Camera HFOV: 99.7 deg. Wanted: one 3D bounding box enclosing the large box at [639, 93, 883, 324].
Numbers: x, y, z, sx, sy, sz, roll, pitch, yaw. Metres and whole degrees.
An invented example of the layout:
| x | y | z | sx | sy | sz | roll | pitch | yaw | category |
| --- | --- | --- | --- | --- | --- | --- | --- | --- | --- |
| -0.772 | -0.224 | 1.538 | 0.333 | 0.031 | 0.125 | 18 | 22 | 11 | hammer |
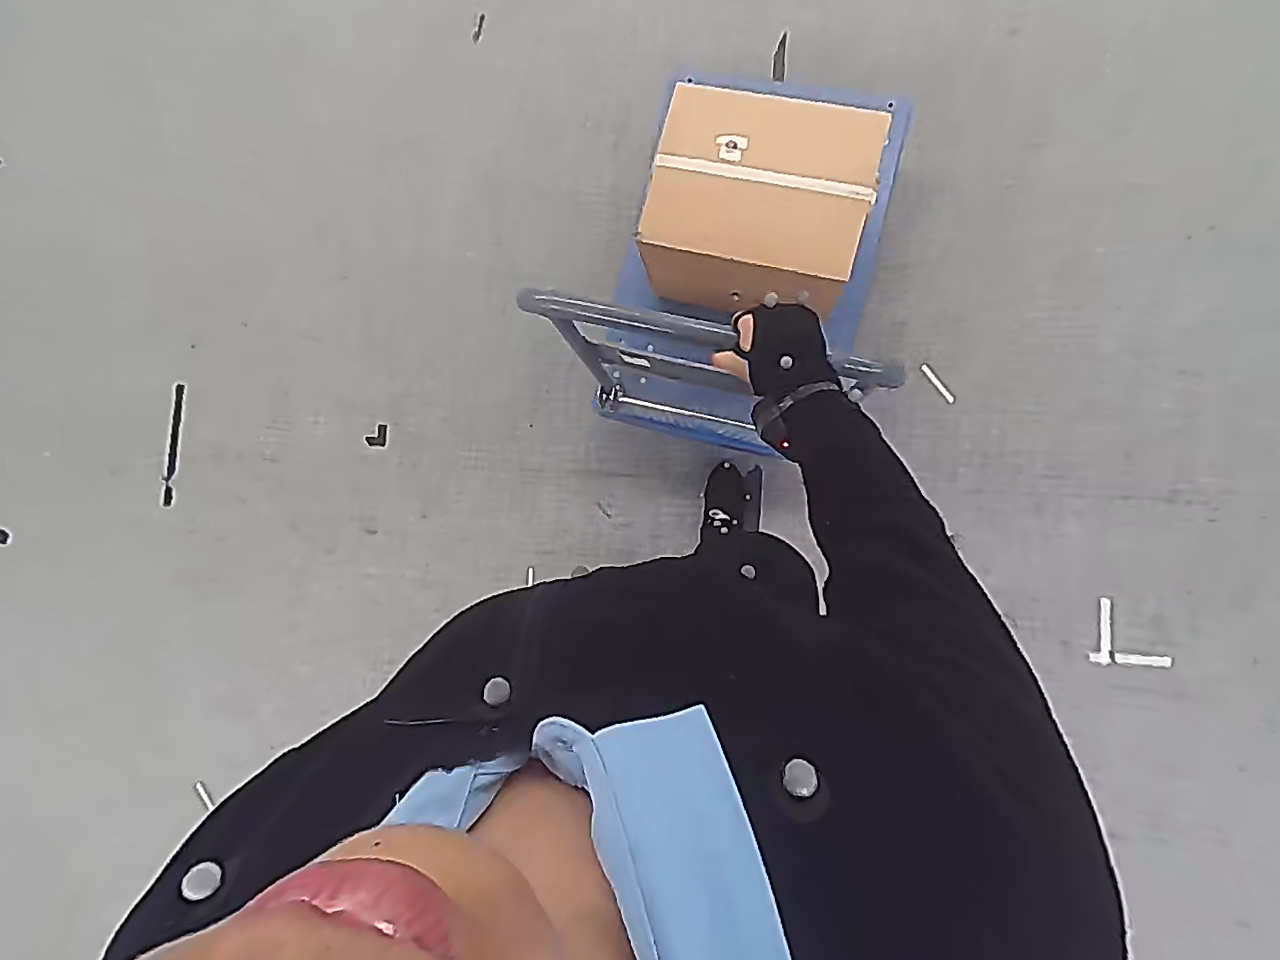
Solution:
| x | y | z | sx | sy | sz | roll | pitch | yaw | category |
| --- | --- | --- | --- | --- | --- | --- | --- | --- | --- |
| 0.249 | -0.558 | 1.166 | 0.408 | 0.320 | 0.320 | 14 | 90 | 10 | large box |
